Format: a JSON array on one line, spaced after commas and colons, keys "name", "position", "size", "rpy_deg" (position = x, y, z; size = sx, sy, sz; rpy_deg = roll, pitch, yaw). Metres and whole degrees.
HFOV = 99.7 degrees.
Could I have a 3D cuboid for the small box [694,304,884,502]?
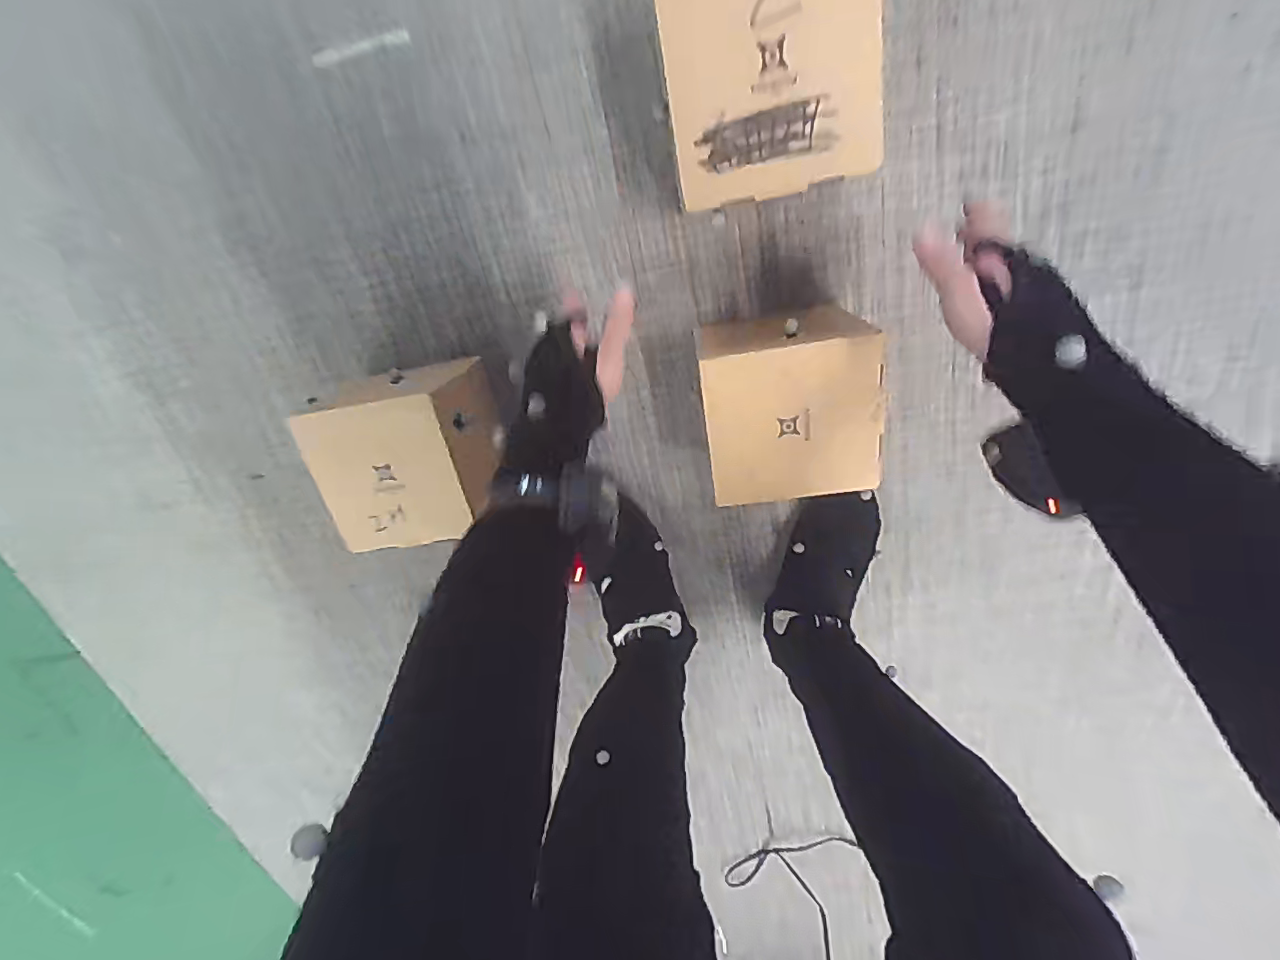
[{"name": "small box", "position": [0.156, -0.093, 0.608], "size": [0.179, 0.176, 0.168], "rpy_deg": [-8, 115, 7]}]
